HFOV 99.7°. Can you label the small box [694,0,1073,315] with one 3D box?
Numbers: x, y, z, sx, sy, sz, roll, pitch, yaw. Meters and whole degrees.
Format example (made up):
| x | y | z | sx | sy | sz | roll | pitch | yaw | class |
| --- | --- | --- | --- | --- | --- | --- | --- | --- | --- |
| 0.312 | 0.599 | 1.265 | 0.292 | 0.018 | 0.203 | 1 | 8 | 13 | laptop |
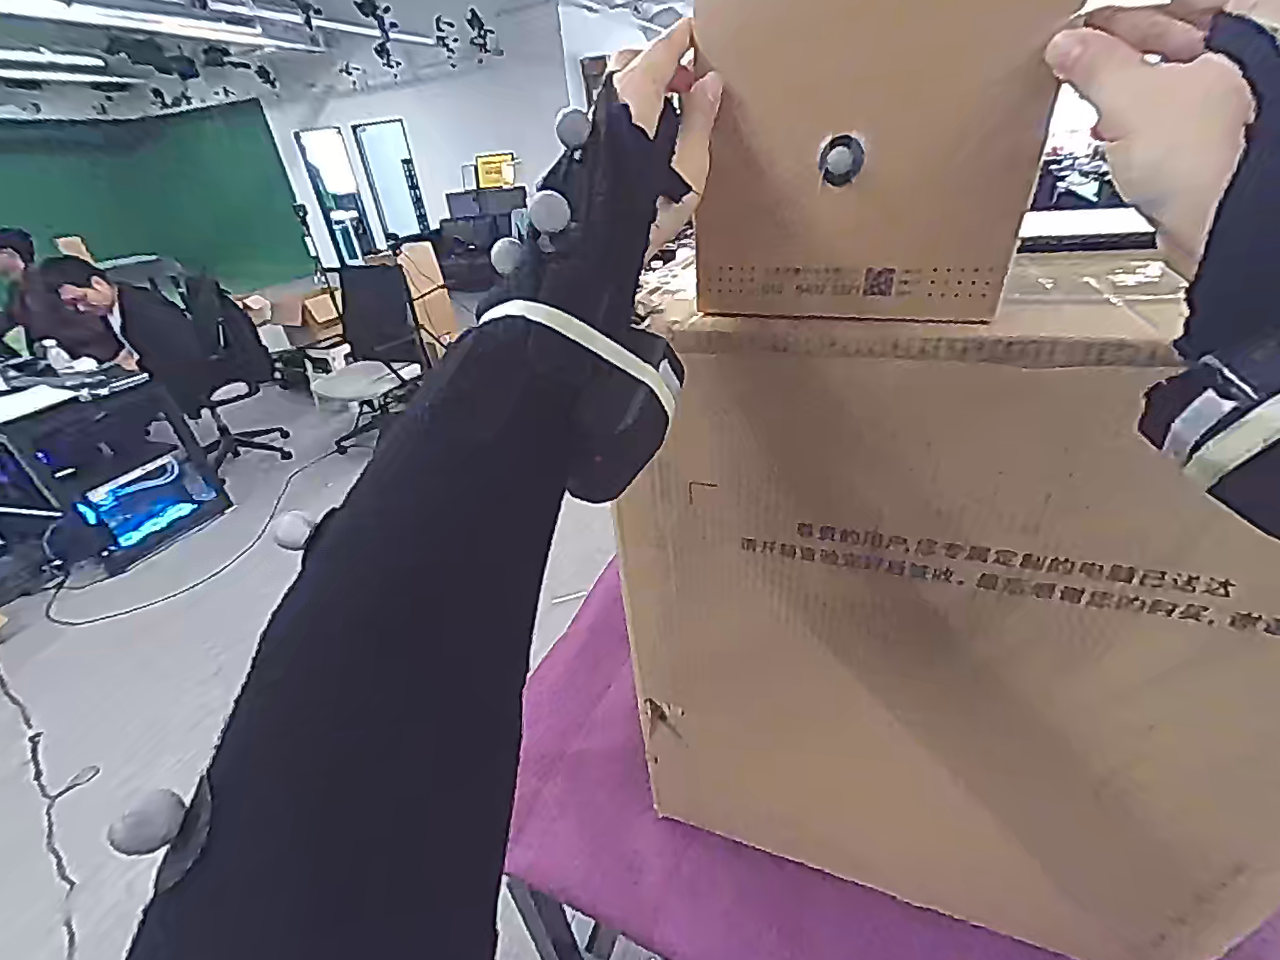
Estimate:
| x | y | z | sx | sy | sz | roll | pitch | yaw | class |
| --- | --- | --- | --- | --- | --- | --- | --- | --- | --- |
| 0.137 | -0.209 | 0.336 | 0.168 | 0.176 | 0.179 | 9 | 35 | 18 | small box |
